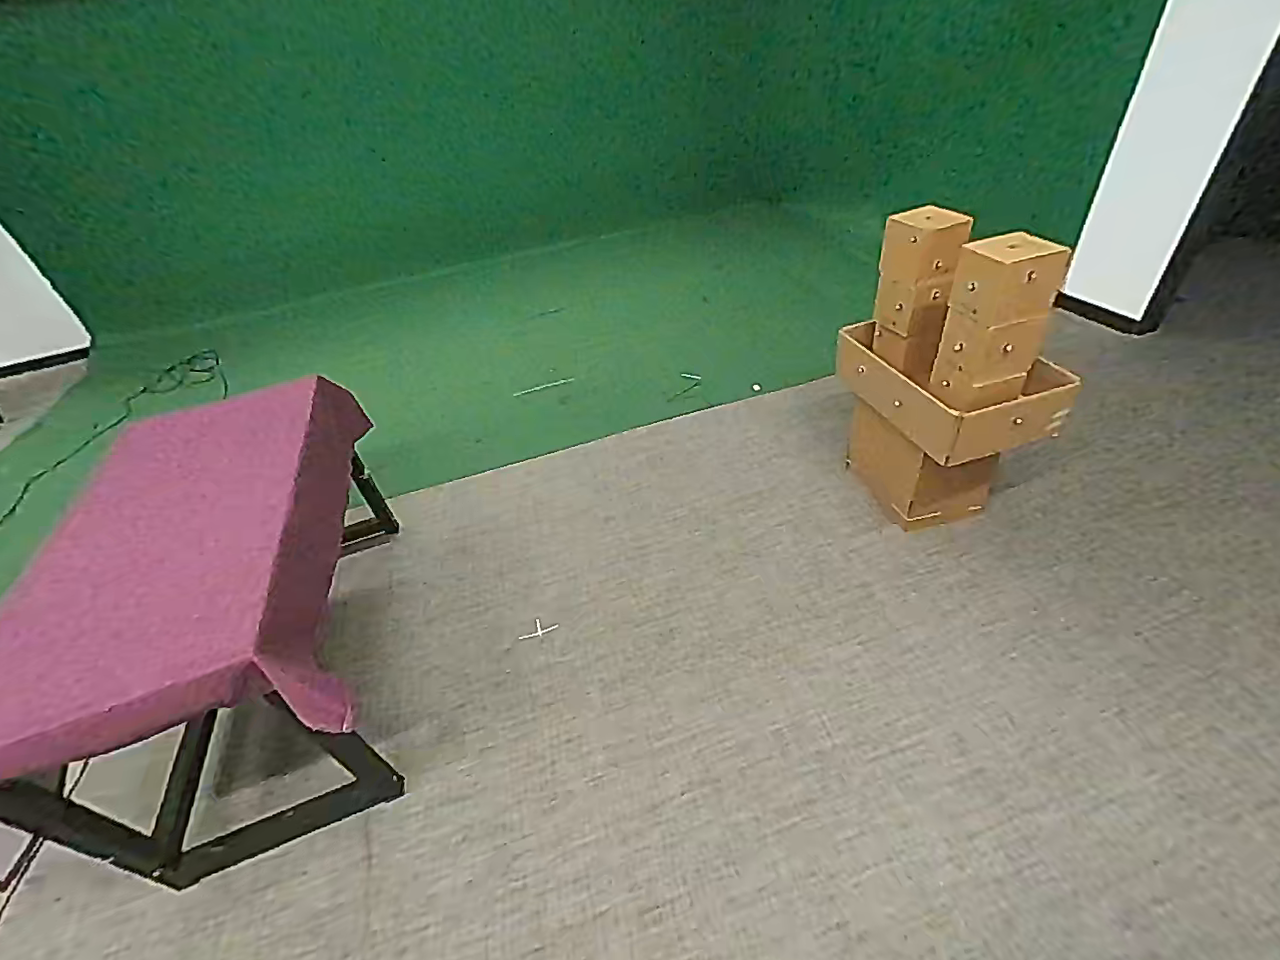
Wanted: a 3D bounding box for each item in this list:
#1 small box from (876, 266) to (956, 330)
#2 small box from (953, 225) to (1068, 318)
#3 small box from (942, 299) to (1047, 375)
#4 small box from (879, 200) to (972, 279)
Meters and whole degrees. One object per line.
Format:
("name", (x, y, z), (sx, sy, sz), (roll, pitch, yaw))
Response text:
("small box", (0.893, -0.609, 1.758), (0.179, 0.176, 0.168), (-18, 42, -10))
("small box", (0.950, -0.541, 1.410), (0.179, 0.176, 0.168), (-14, 41, -5))
("small box", (0.977, -0.413, 1.513), (0.179, 0.176, 0.168), (-15, 41, -4))
("small box", (0.866, -0.739, 1.663), (0.168, 0.176, 0.179), (-20, 43, -11))
